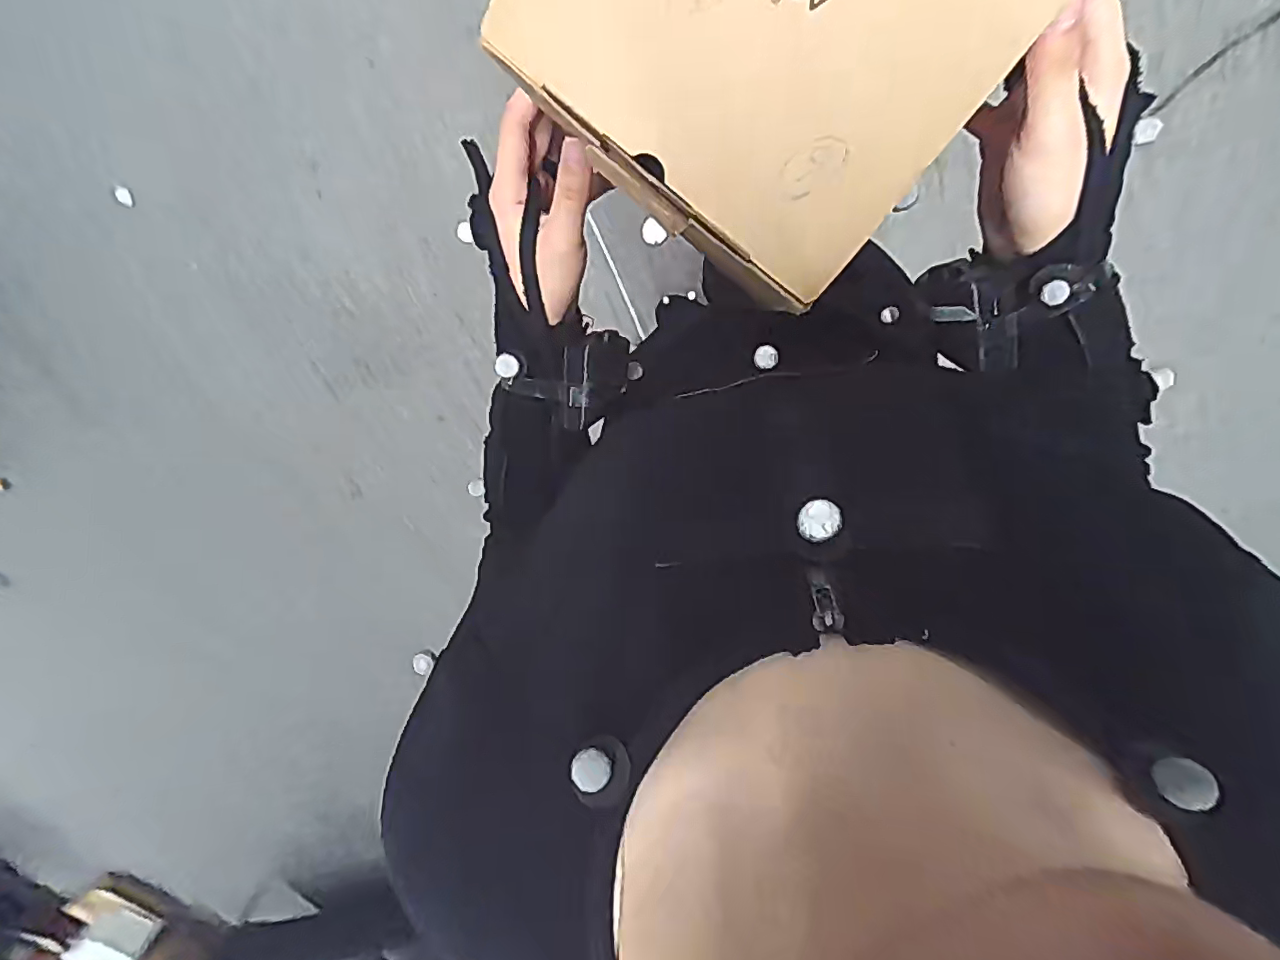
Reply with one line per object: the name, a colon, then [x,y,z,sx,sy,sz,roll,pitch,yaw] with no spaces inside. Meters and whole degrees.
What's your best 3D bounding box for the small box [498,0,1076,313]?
small box: [0.069,-0.204,0.266,0.168,0.176,0.179,39,110,-5]
